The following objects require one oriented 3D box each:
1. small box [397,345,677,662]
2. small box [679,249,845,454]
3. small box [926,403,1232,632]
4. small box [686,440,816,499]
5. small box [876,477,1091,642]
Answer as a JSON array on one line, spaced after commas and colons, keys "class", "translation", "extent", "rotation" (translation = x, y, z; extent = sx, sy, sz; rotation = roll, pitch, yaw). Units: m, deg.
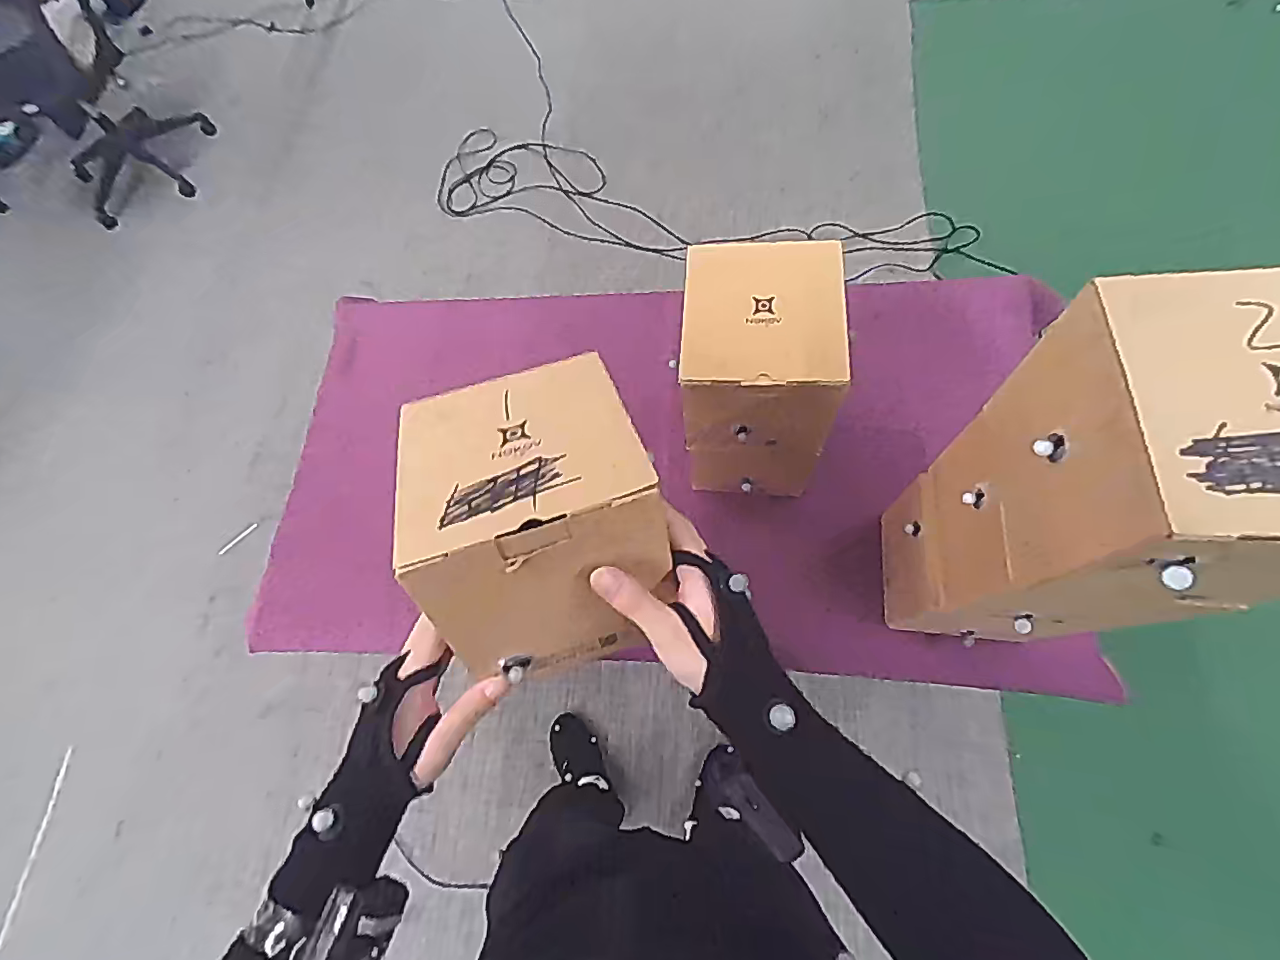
[{"class": "small box", "translation": [-0.075, 0.024, 0.436], "extent": [0.168, 0.176, 0.179], "rotation": [-17, 45, -6]}, {"class": "small box", "translation": [0.133, -0.144, 0.637], "extent": [0.168, 0.176, 0.179], "rotation": [2, 71, 7]}, {"class": "small box", "translation": [0.397, 0.044, 0.532], "extent": [0.168, 0.176, 0.179], "rotation": [4, 70, 10]}, {"class": "small box", "translation": [0.159, -0.086, 0.787], "extent": [0.168, 0.176, 0.179], "rotation": [5, 70, 9]}, {"class": "small box", "translation": [0.414, 0.107, 0.683], "extent": [0.179, 0.176, 0.168], "rotation": [4, 69, 9]}]
